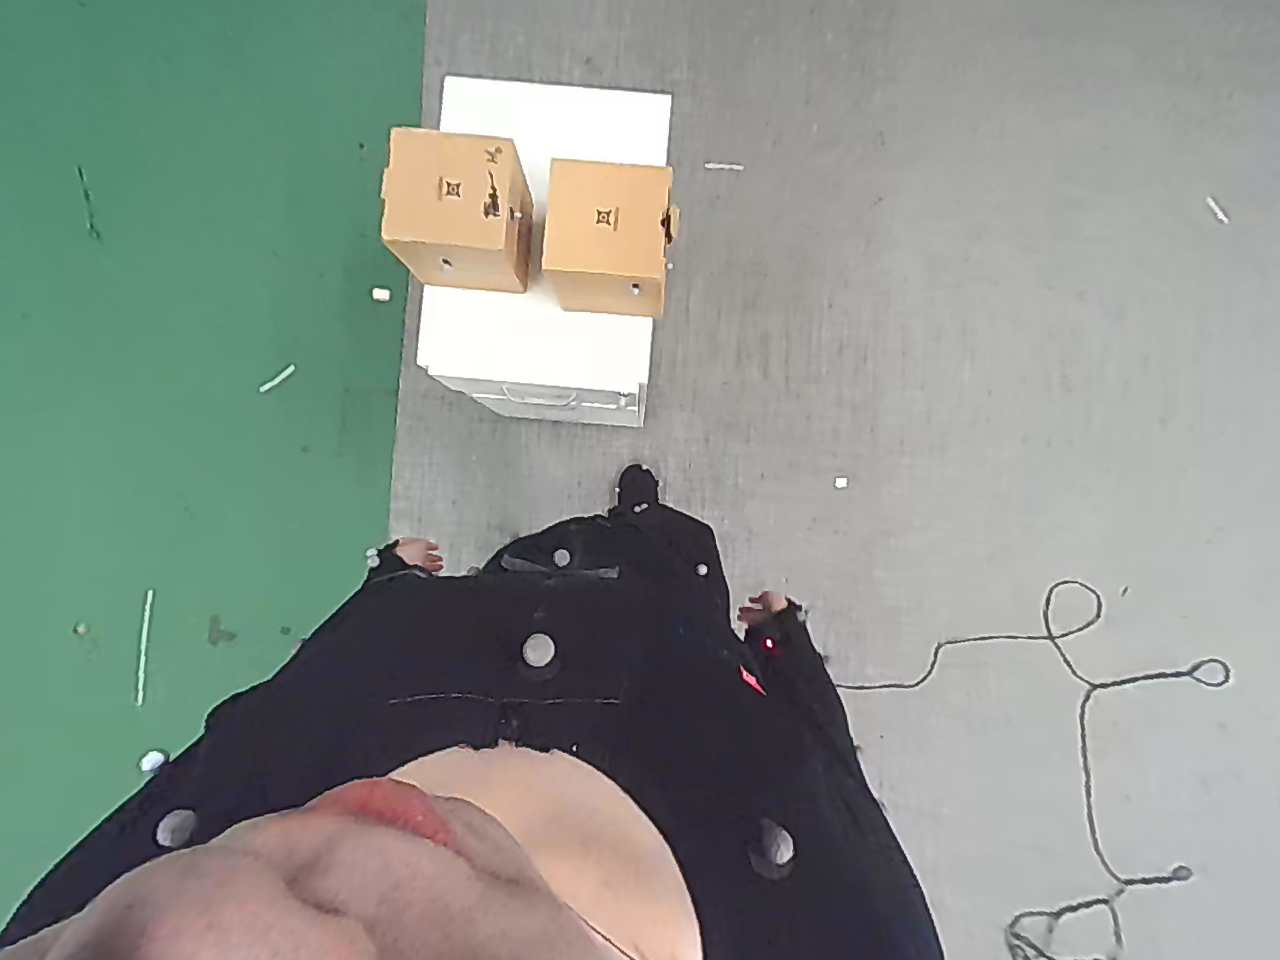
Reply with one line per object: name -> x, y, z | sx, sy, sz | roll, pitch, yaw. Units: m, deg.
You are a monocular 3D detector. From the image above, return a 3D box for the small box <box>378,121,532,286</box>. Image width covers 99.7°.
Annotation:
small box -> -0.275, -0.415, 0.838 | 0.179, 0.176, 0.168 | 5, 89, -1
